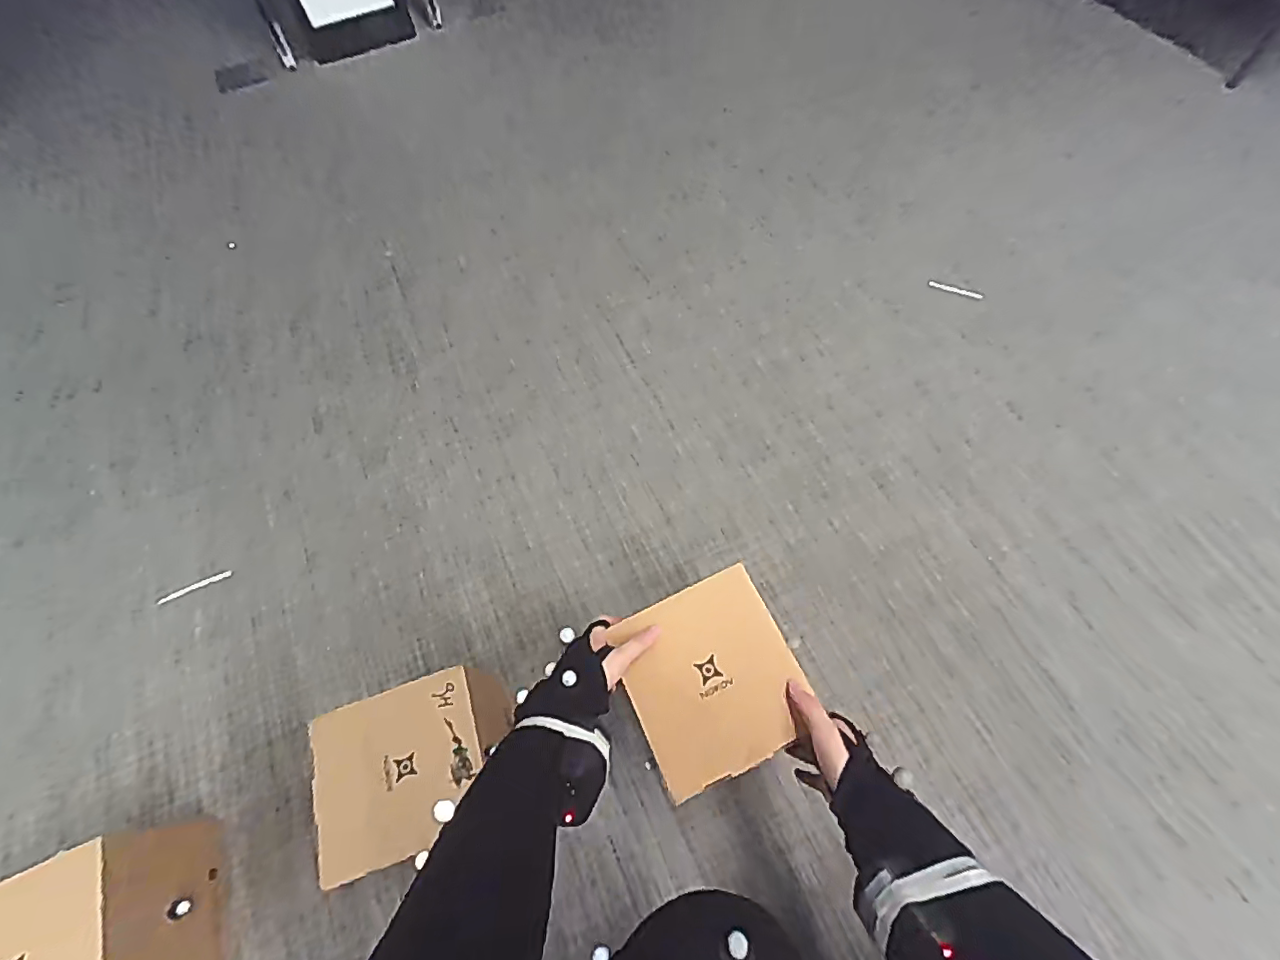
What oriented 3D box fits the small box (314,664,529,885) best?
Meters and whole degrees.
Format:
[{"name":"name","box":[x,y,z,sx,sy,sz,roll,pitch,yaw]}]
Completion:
[{"name":"small box","box":[-0.249,0.340,0.640,0.179,0.176,0.168,-18,64,-7]}]

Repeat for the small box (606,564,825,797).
[{"name":"small box","box":[0.079,0.224,0.614,0.168,0.176,0.179,-26,67,-2]}]

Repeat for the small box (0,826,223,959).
[{"name":"small box","box":[-0.583,0.496,0.574,0.179,0.176,0.168,-23,63,-9]}]
